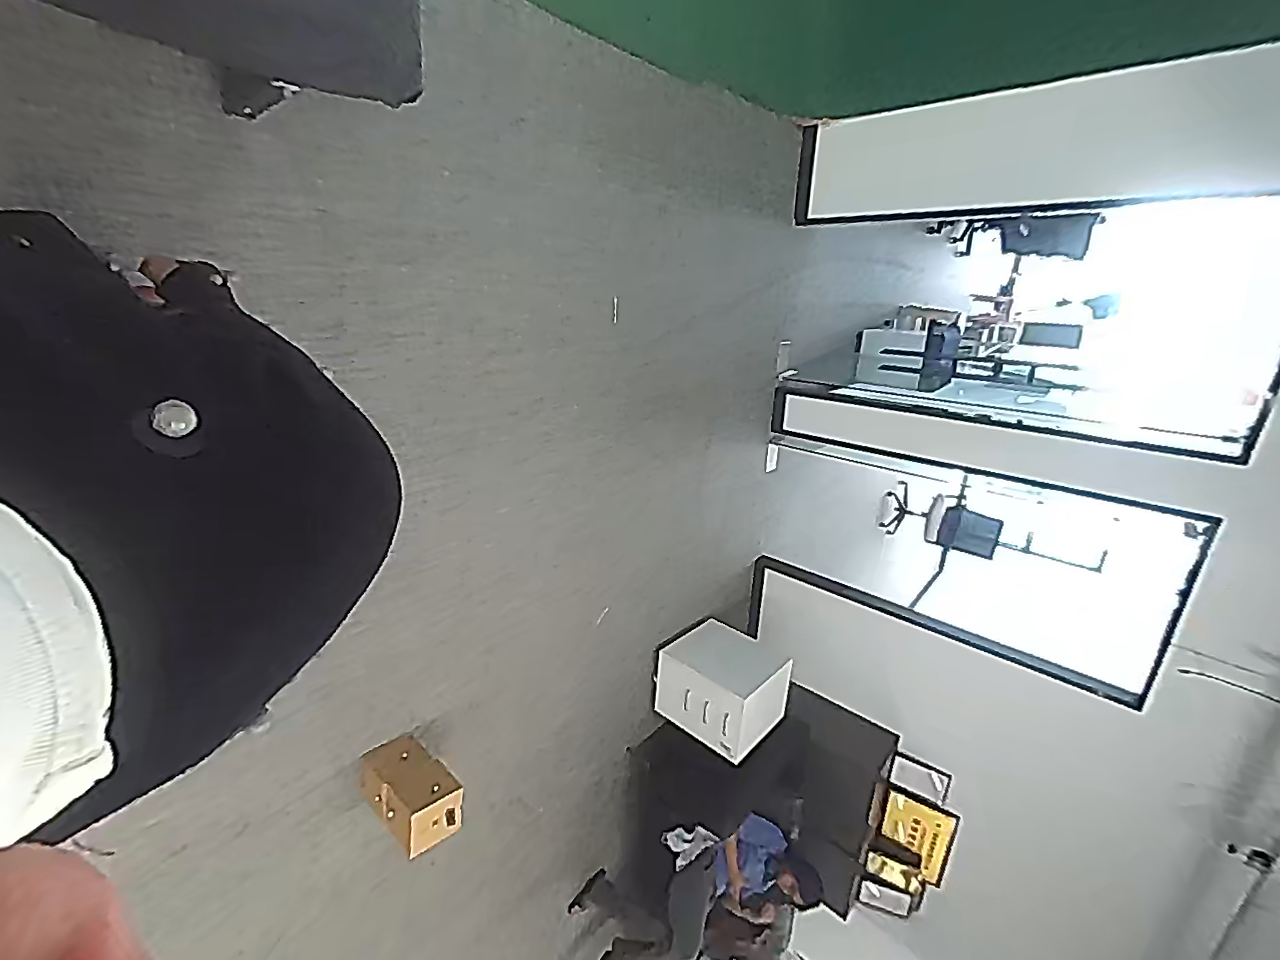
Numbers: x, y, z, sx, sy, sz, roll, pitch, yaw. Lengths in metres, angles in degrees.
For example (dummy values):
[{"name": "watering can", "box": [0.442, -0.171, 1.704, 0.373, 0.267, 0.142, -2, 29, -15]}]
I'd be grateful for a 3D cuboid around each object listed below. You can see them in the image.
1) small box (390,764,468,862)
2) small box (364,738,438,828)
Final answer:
[{"name": "small box", "box": [-0.680, 1.057, 1.739, 0.179, 0.176, 0.168, -8, 110, -48]}, {"name": "small box", "box": [-0.809, 1.017, 1.833, 0.179, 0.176, 0.168, -11, 112, -49]}]
